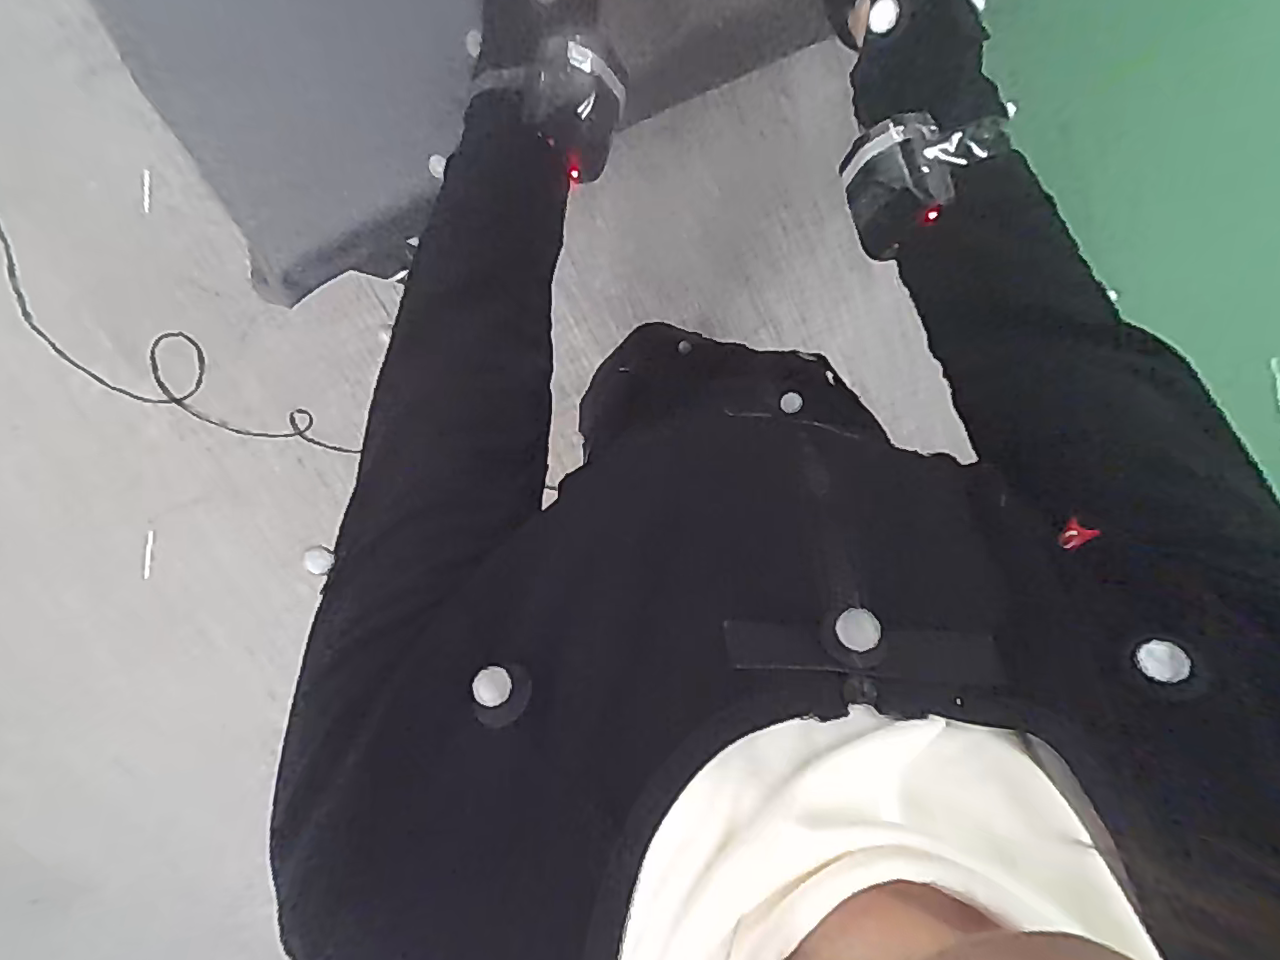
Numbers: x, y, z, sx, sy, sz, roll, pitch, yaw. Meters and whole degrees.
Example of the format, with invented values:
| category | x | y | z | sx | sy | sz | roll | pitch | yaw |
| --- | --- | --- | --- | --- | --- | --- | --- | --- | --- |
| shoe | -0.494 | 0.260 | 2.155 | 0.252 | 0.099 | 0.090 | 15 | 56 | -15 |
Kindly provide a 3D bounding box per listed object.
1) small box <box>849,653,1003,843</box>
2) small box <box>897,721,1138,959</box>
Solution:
| category | x | y | z | sx | sy | sz | roll | pitch | yaw |
| --- | --- | --- | --- | --- | --- | --- | --- | --- | --- |
| small box | 0.463 | 0.414 | 0.857 | 0.168 | 0.176 | 0.179 | -27 | 102 | 4 |
| small box | 0.471 | 0.456 | 0.698 | 0.168 | 0.176 | 0.179 | -29 | 105 | 5 |
